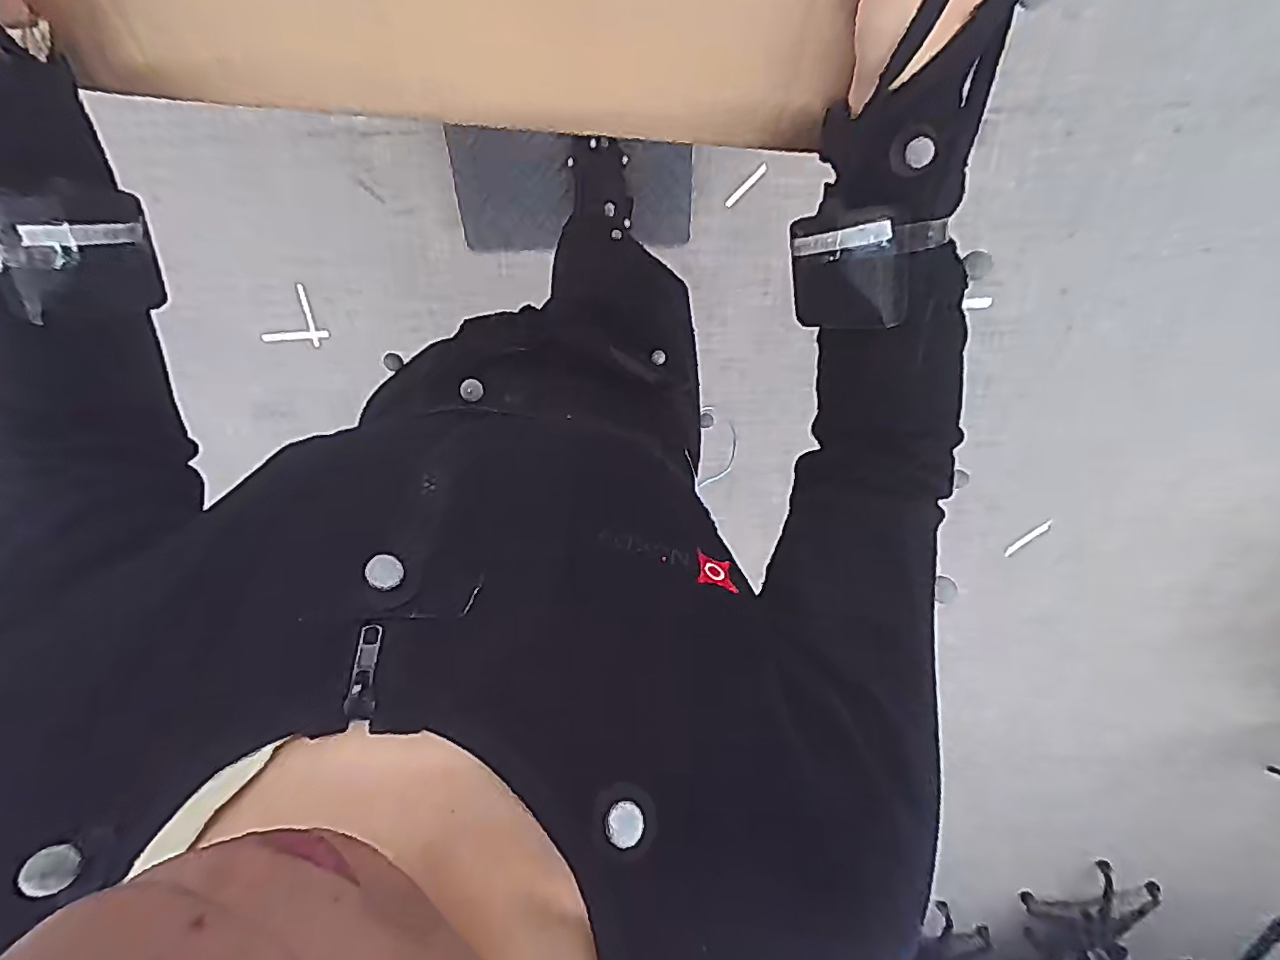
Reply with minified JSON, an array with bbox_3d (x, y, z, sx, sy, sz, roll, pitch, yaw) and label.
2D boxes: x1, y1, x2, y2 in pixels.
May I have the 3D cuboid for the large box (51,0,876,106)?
[{"bbox_3d":[-0.079,-0.422,0.252,0.408,0.320,0.320,1,145,-5],"label":"large box"}]

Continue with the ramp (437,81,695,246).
[{"bbox_3d":[-0.137,-0.919,0.892,0.509,0.206,0.991,-4,118,-2],"label":"ramp"}]
